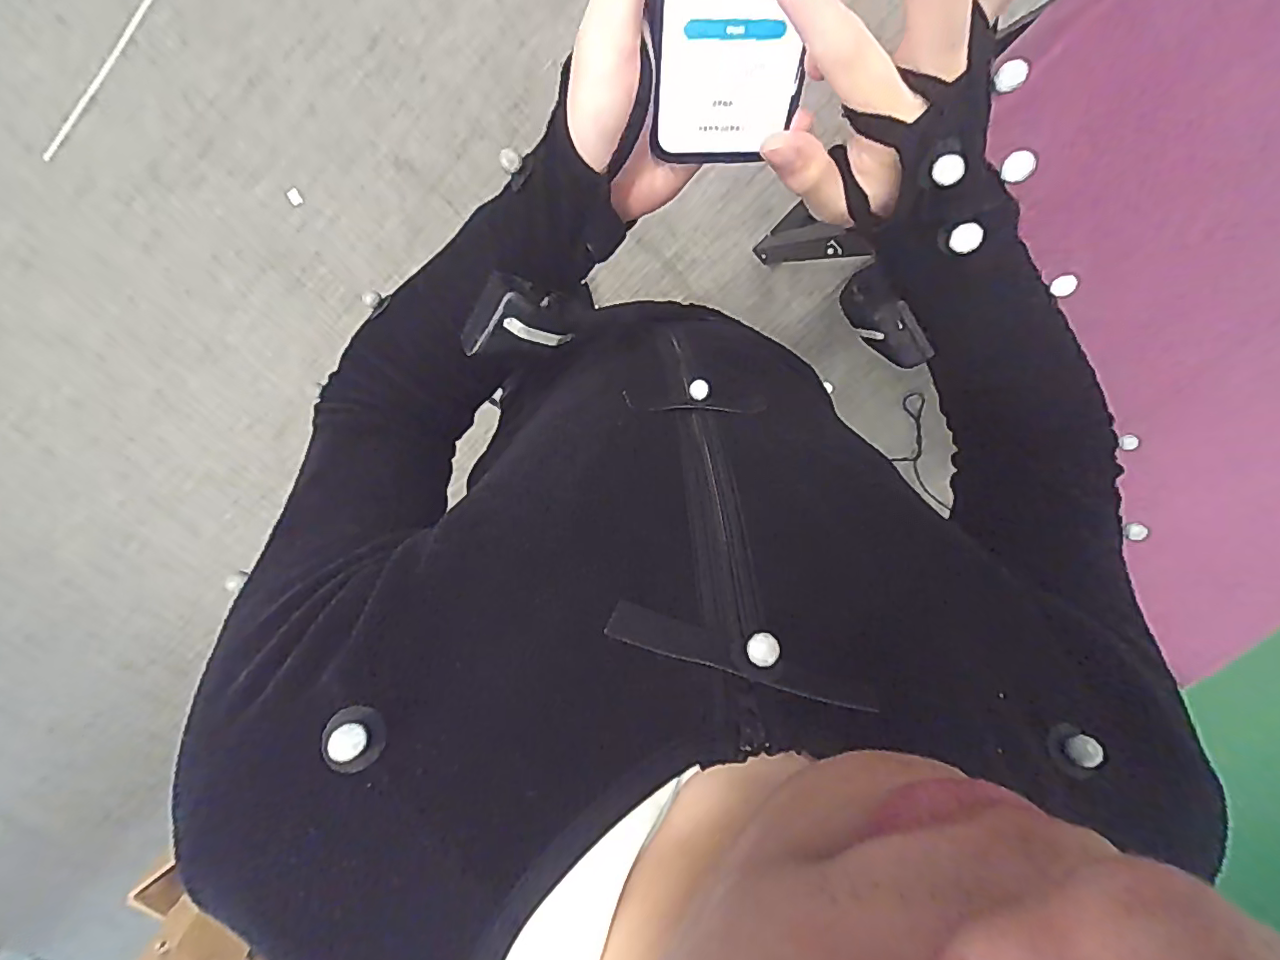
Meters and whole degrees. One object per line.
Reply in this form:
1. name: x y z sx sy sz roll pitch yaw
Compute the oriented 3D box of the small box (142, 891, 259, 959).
1. small box: -1.057 1.131 1.285 0.179 0.176 0.168 -36 108 9
